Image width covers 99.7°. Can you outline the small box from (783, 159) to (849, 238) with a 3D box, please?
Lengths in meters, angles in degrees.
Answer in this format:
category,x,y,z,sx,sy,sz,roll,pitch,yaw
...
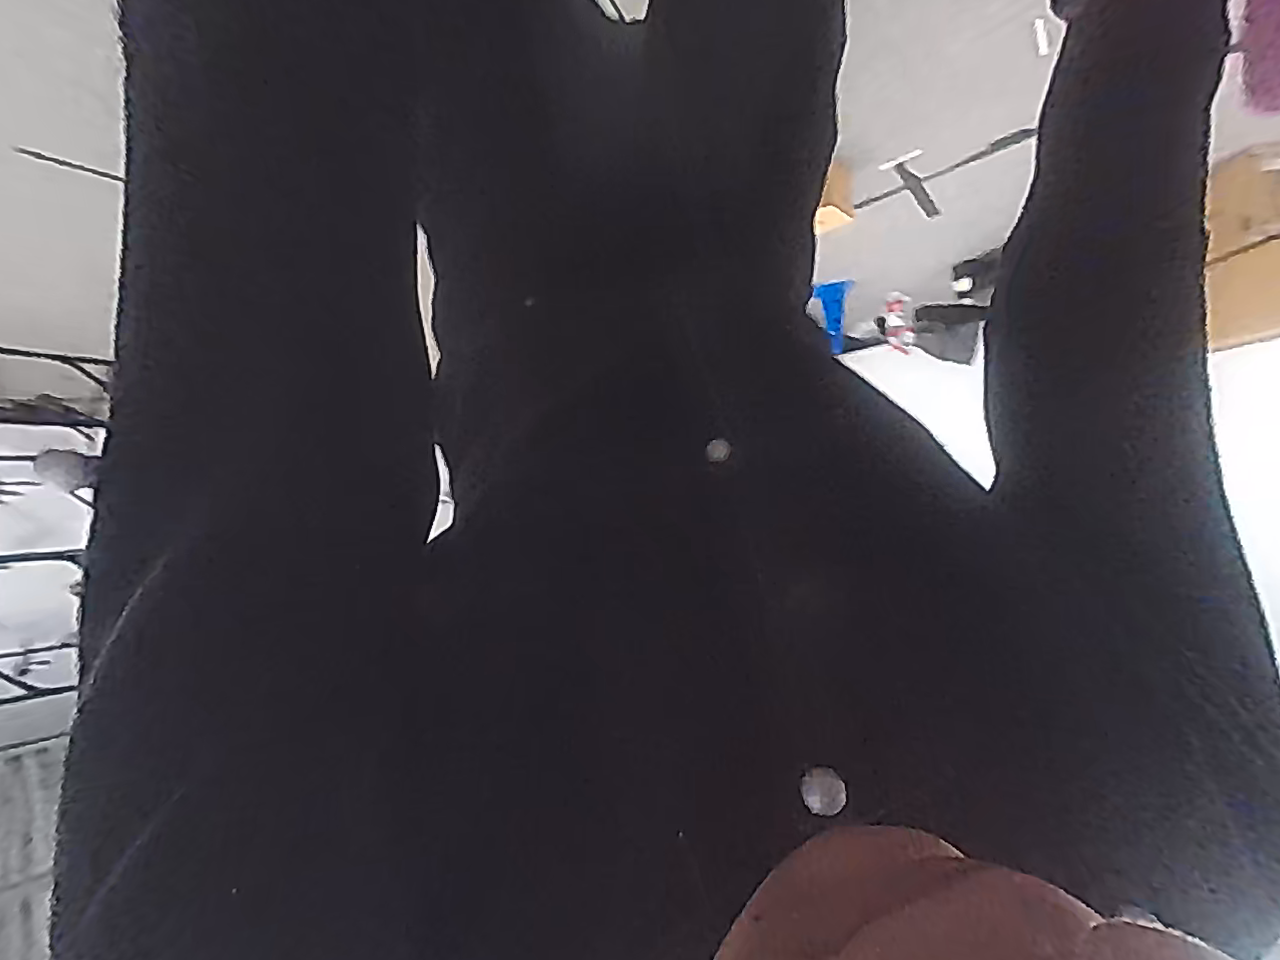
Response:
category,x,y,z,sx,sy,sz,roll,pitch,yaw
small box,0.624,-0.993,1.911,0.168,0.176,0.179,-6,176,44
